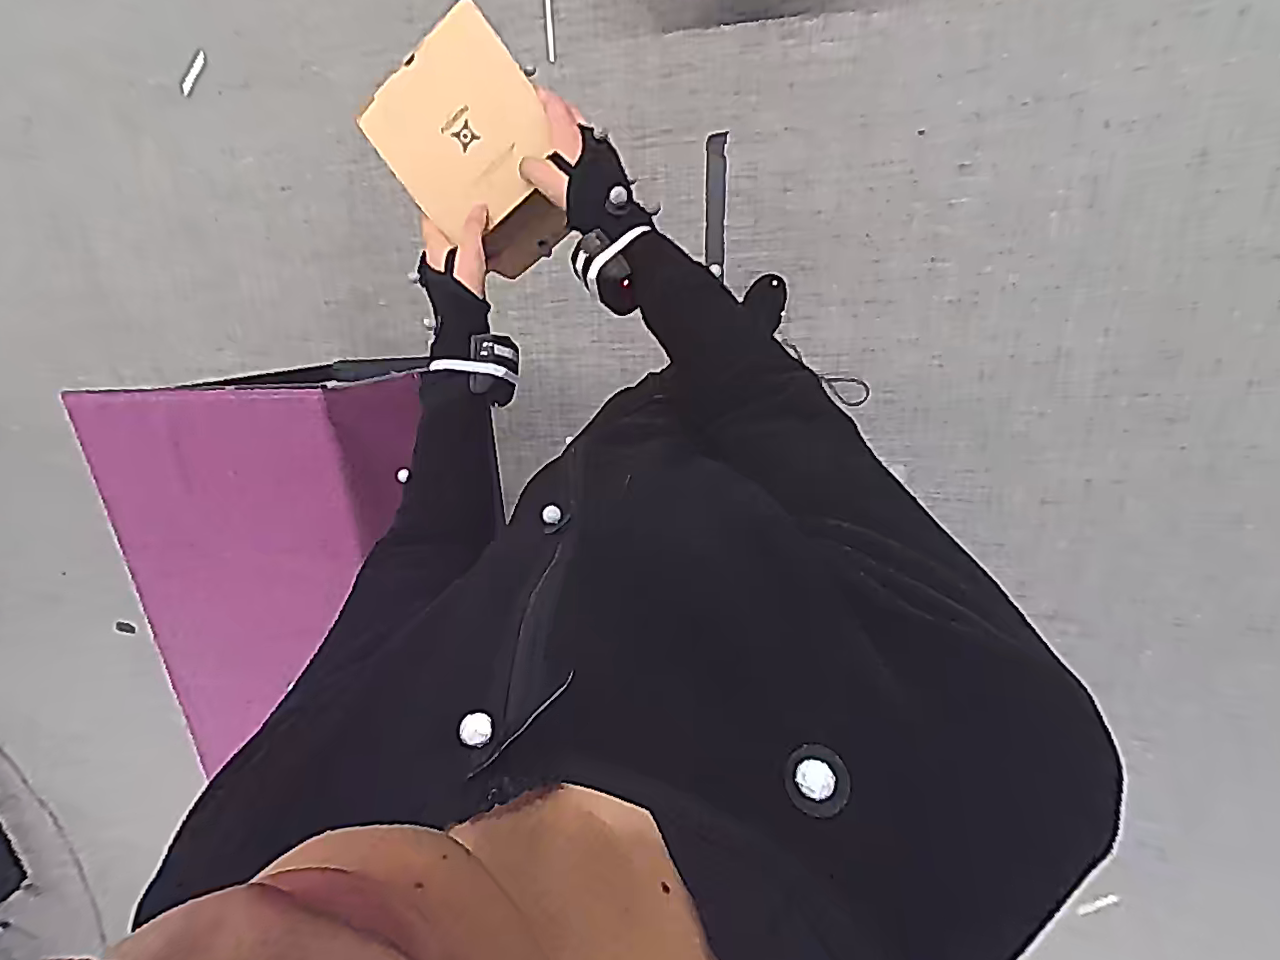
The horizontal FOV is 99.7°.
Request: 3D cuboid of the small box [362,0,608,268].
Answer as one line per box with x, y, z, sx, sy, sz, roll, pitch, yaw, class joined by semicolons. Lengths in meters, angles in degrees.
-0.160;-0.372;0.615;0.168;0.176;0.179;-35;95;13;small box
